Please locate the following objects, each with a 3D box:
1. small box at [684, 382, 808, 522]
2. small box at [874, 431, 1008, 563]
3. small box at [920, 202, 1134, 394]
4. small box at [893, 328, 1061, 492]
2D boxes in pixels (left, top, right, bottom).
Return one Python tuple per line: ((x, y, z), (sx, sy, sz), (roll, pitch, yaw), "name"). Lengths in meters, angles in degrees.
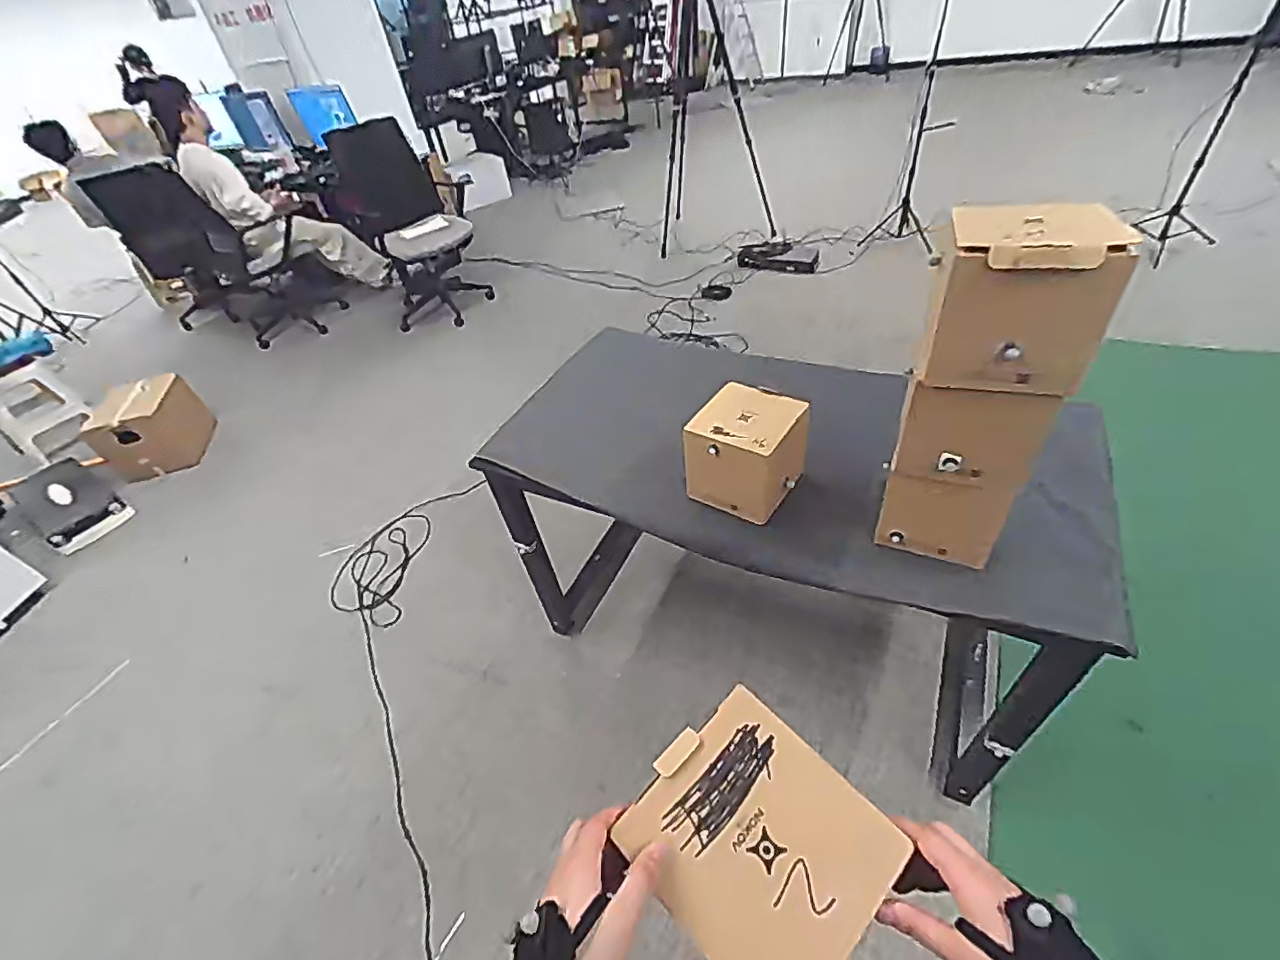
((0.196, -0.054, 1.014), (0.168, 0.176, 0.179), (22, 49, 30), "small box")
((0.495, 0.008, 0.892), (0.168, 0.176, 0.179), (14, 45, 25), "small box")
((0.452, -0.228, 0.668), (0.168, 0.176, 0.179), (8, 43, 21), "small box")
((0.473, -0.110, 0.783), (0.168, 0.176, 0.179), (11, 45, 23), "small box")
